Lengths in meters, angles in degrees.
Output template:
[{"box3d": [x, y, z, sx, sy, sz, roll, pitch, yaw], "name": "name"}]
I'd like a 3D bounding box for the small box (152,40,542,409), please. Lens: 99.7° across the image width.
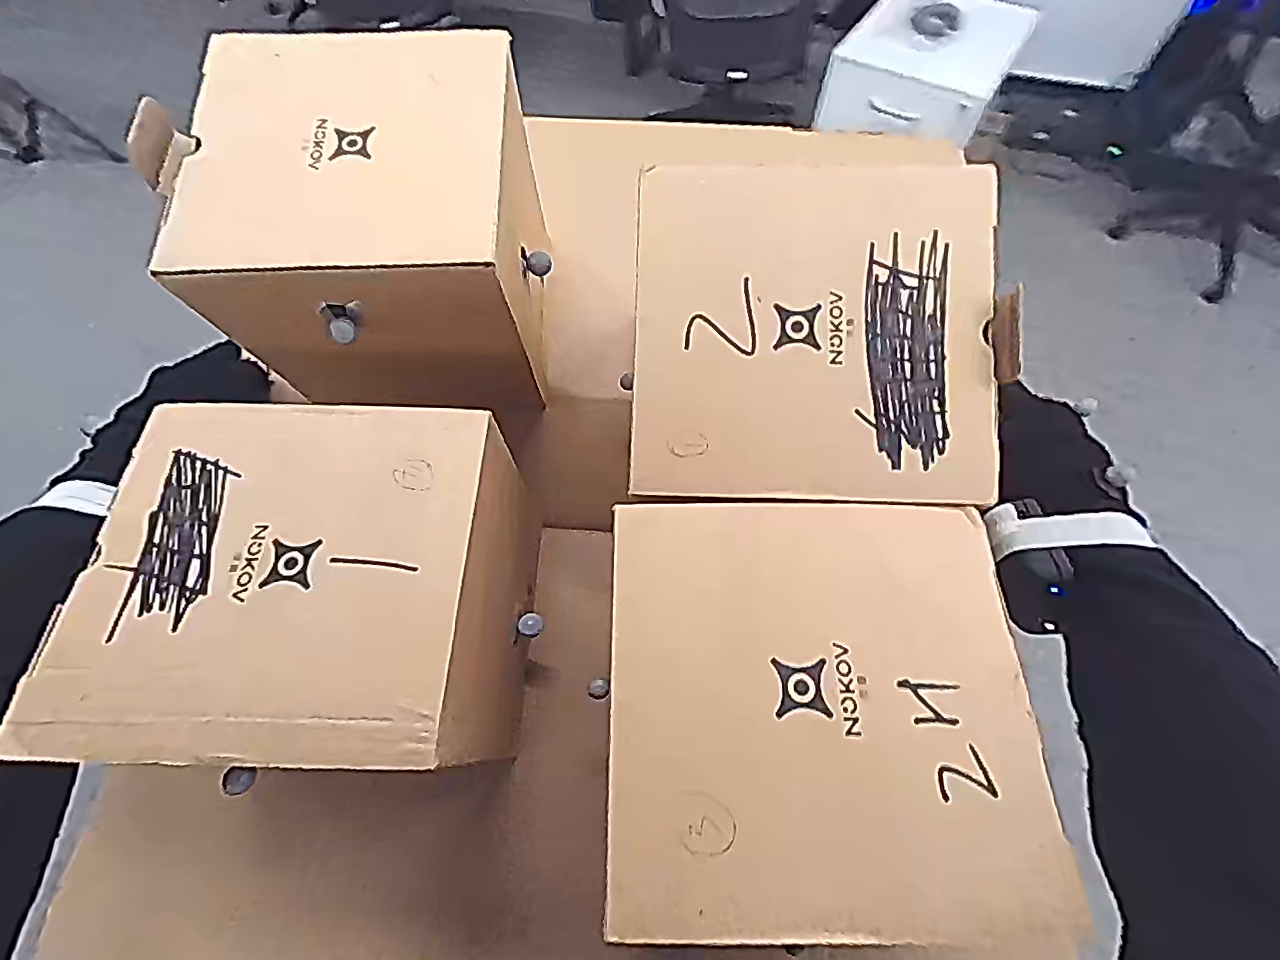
[{"box3d": [-0.167, -0.159, 0.377, 0.179, 0.176, 0.168, -2, 73, 0], "name": "small box"}]
